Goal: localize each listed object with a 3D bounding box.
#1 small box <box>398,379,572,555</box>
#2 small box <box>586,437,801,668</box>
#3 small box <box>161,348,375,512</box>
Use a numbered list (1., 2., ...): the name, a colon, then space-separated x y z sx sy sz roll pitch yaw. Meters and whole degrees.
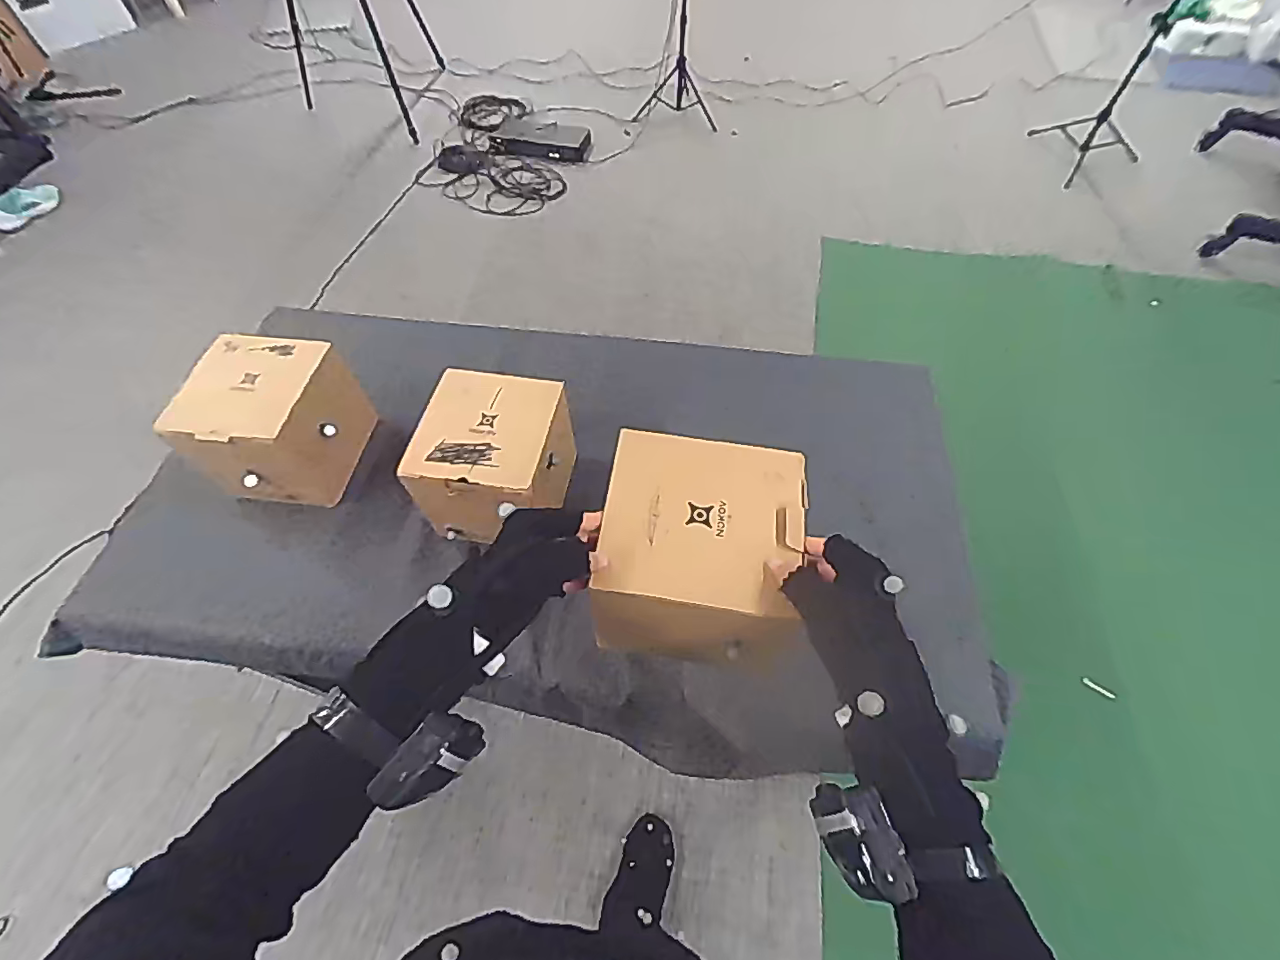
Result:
1. small box: -0.198 -0.013 0.756 0.168 0.176 0.179 8 56 6
2. small box: 0.053 0.080 0.544 0.179 0.176 0.168 6 56 5
3. small box: -0.523 -0.068 0.795 0.168 0.176 0.179 5 58 4
